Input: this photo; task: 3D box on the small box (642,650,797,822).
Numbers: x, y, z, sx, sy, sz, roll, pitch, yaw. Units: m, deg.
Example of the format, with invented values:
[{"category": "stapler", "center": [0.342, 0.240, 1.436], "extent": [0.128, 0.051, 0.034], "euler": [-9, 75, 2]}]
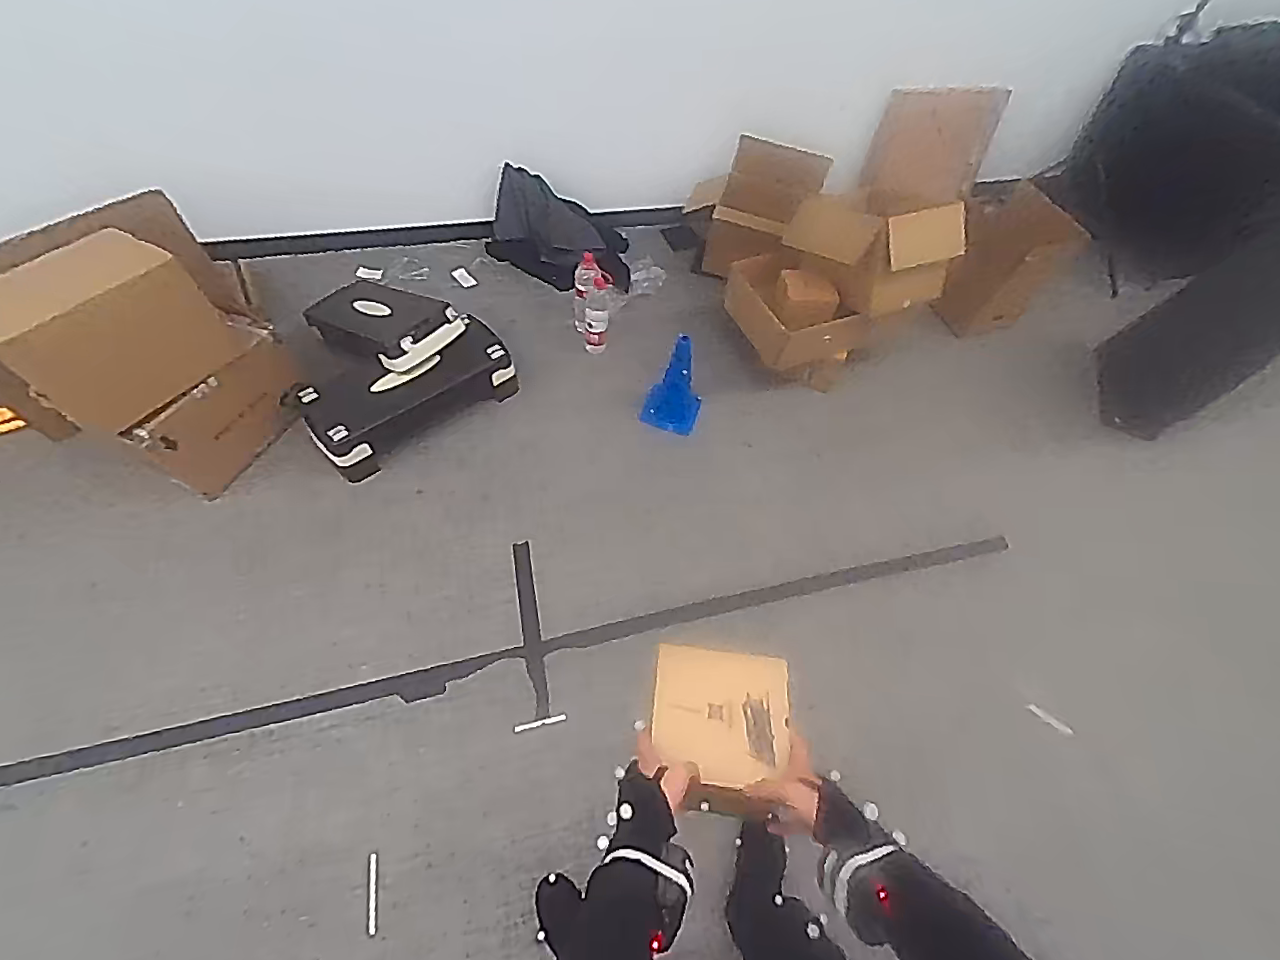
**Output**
[{"category": "small box", "center": [0.101, 0.354, 0.740], "extent": [0.179, 0.176, 0.168], "euler": [7, 49, 2]}]
